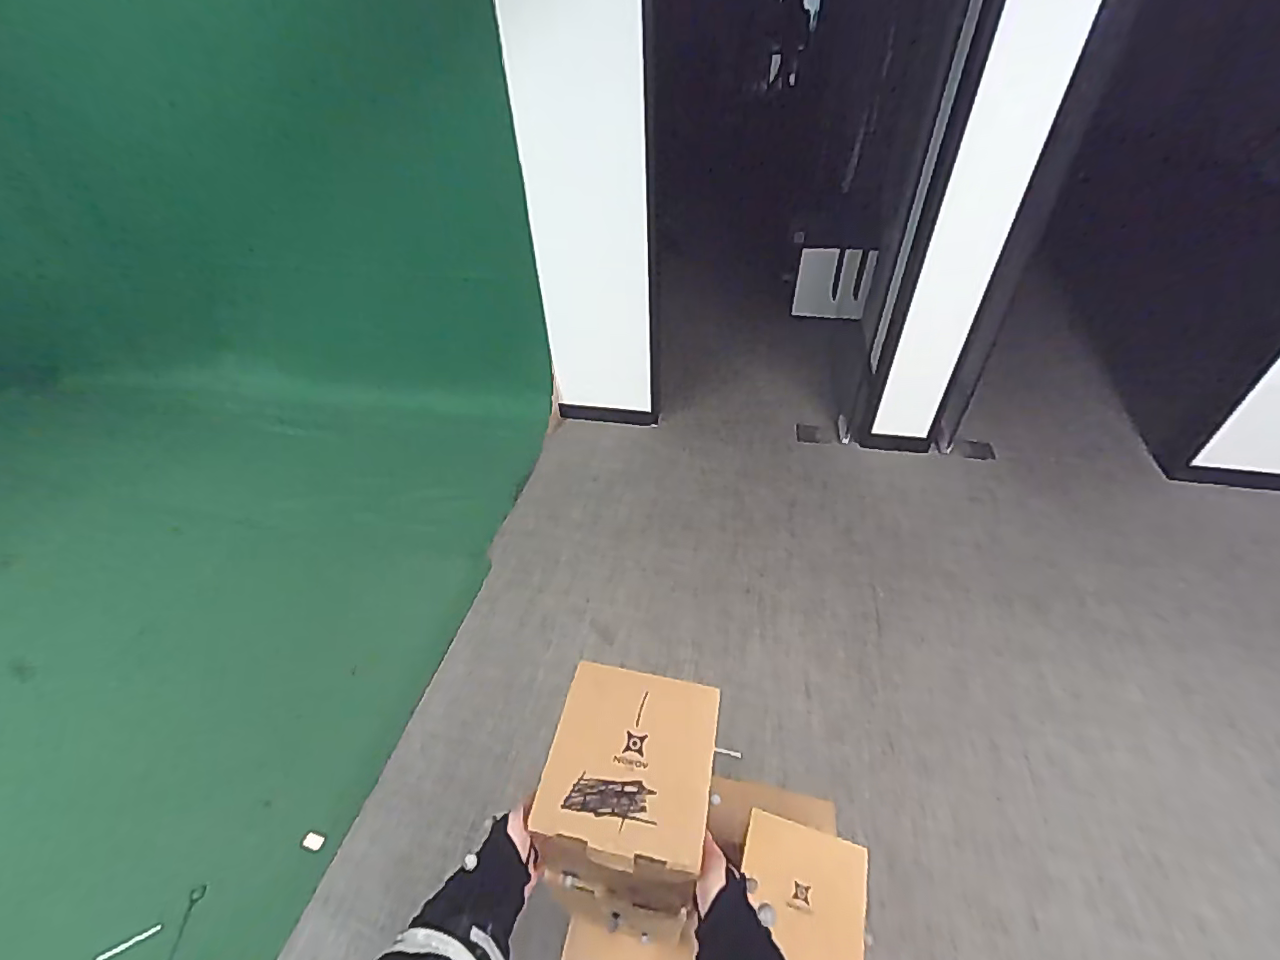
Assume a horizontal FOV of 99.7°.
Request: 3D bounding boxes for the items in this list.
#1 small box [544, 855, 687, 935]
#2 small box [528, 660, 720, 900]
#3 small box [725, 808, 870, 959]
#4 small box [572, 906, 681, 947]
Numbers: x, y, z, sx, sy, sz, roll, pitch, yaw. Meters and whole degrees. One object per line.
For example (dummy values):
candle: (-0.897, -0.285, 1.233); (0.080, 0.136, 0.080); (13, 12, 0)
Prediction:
small box: (-0.011, 0.461, 0.709); (0.168, 0.176, 0.179); (9, 44, 9)
small box: (-0.007, 0.334, 0.603); (0.168, 0.176, 0.179); (8, 43, 9)
small box: (0.220, 0.614, 0.770); (0.168, 0.176, 0.179); (10, 43, 16)
small box: (-0.004, 0.575, 0.827); (0.168, 0.176, 0.179); (10, 43, 10)
